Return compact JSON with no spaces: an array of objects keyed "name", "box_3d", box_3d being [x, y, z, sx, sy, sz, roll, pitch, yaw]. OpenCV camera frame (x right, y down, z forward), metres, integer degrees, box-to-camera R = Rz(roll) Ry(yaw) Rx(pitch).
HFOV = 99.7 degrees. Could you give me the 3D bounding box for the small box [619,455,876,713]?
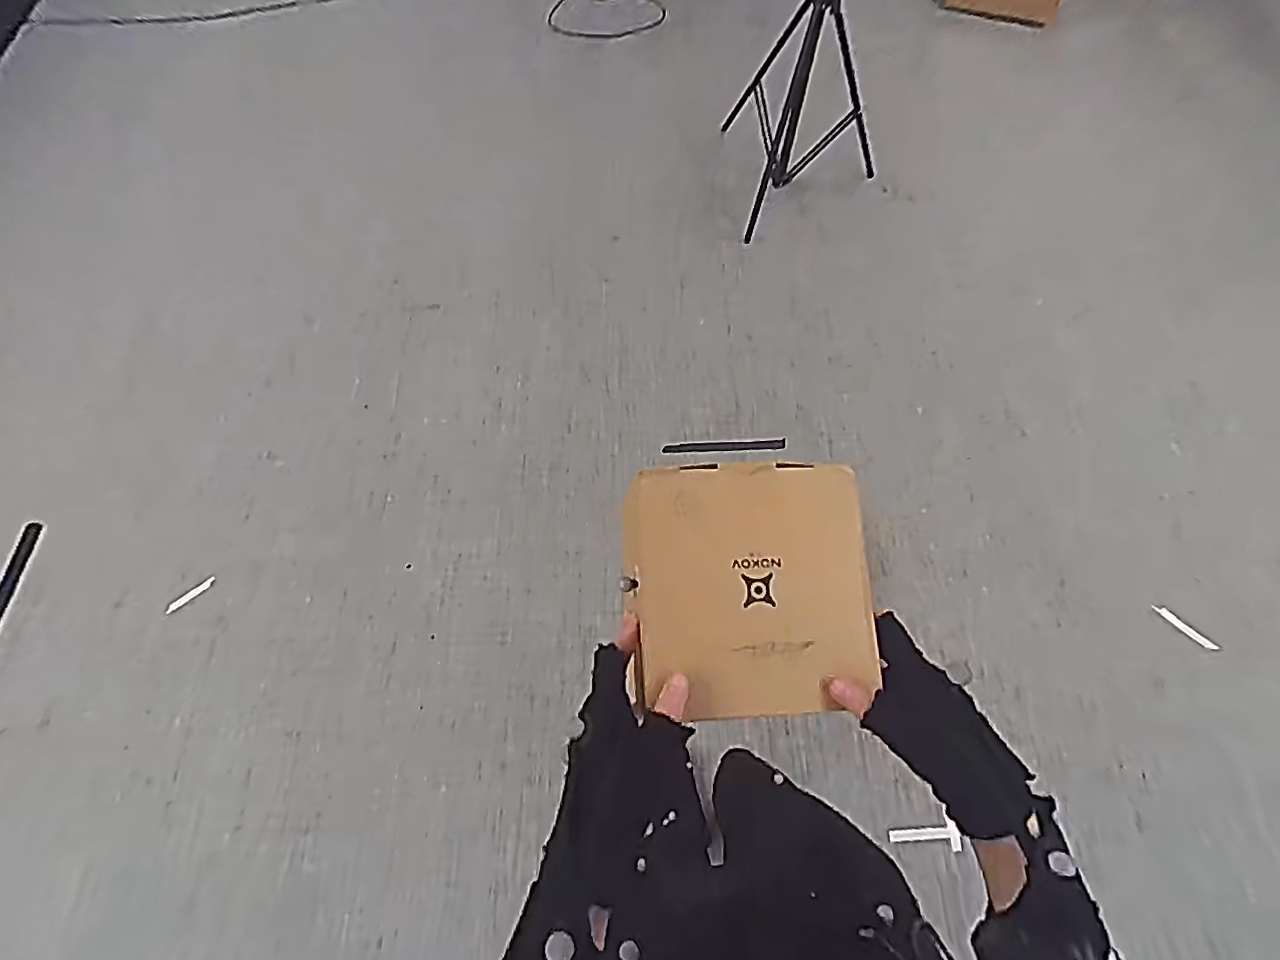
[{"name":"small box","box_3d":[0.070,0.085,0.456,0.168,0.176,0.179,-1,78,-6]}]
